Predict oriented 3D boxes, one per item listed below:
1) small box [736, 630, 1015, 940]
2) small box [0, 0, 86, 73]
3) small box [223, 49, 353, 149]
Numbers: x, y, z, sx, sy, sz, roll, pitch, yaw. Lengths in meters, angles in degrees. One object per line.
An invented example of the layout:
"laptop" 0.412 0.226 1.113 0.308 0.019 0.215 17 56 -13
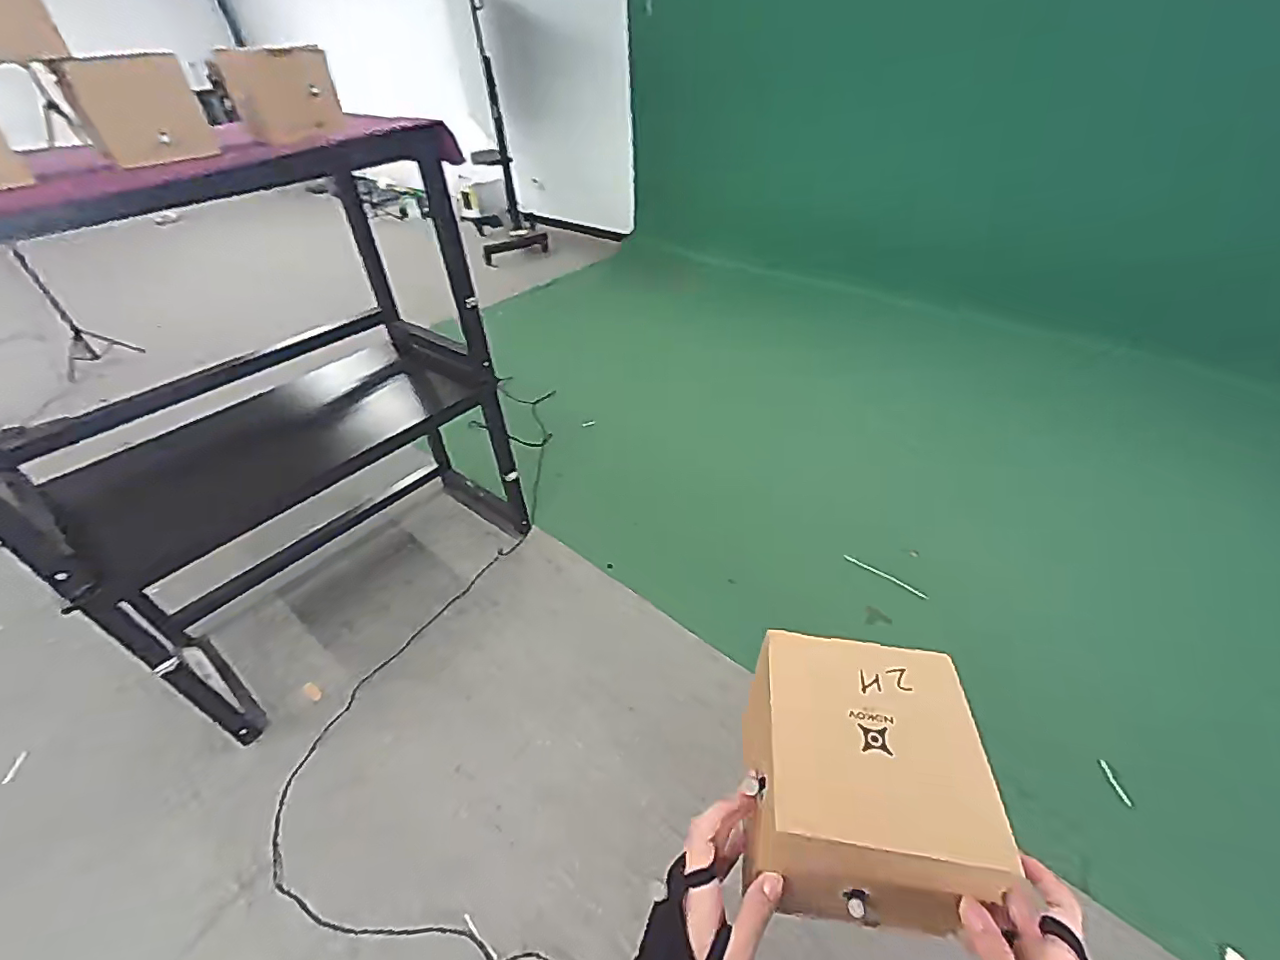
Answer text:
"small box" 0.179 0.265 0.476 0.168 0.176 0.179 7 37 6
"small box" -1.070 -0.767 0.874 0.168 0.176 0.179 28 48 33
"small box" -0.785 -0.858 1.220 0.179 0.176 0.168 31 50 34
